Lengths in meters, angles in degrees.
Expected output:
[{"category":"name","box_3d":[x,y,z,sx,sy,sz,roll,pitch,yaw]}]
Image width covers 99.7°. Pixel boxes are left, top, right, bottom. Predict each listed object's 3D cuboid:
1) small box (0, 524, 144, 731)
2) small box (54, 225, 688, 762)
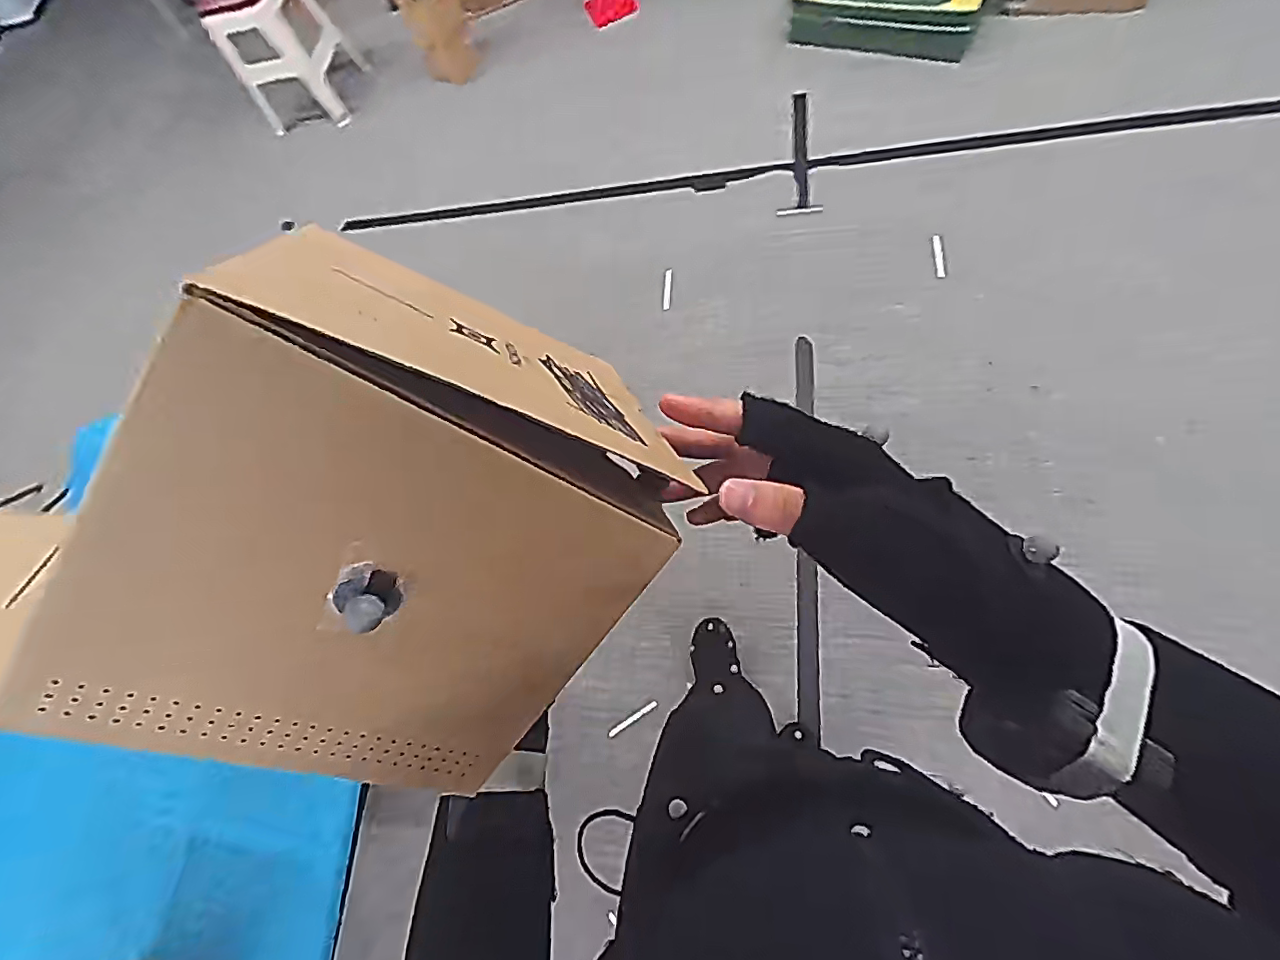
[{"category":"small box","box_3d":[-0.552,0.142,0.550,0.168,0.176,0.179,0,73,14]},{"category":"small box","box_3d":[-0.113,0.009,0.270,0.176,0.179,0.168,-53,31,14]}]
